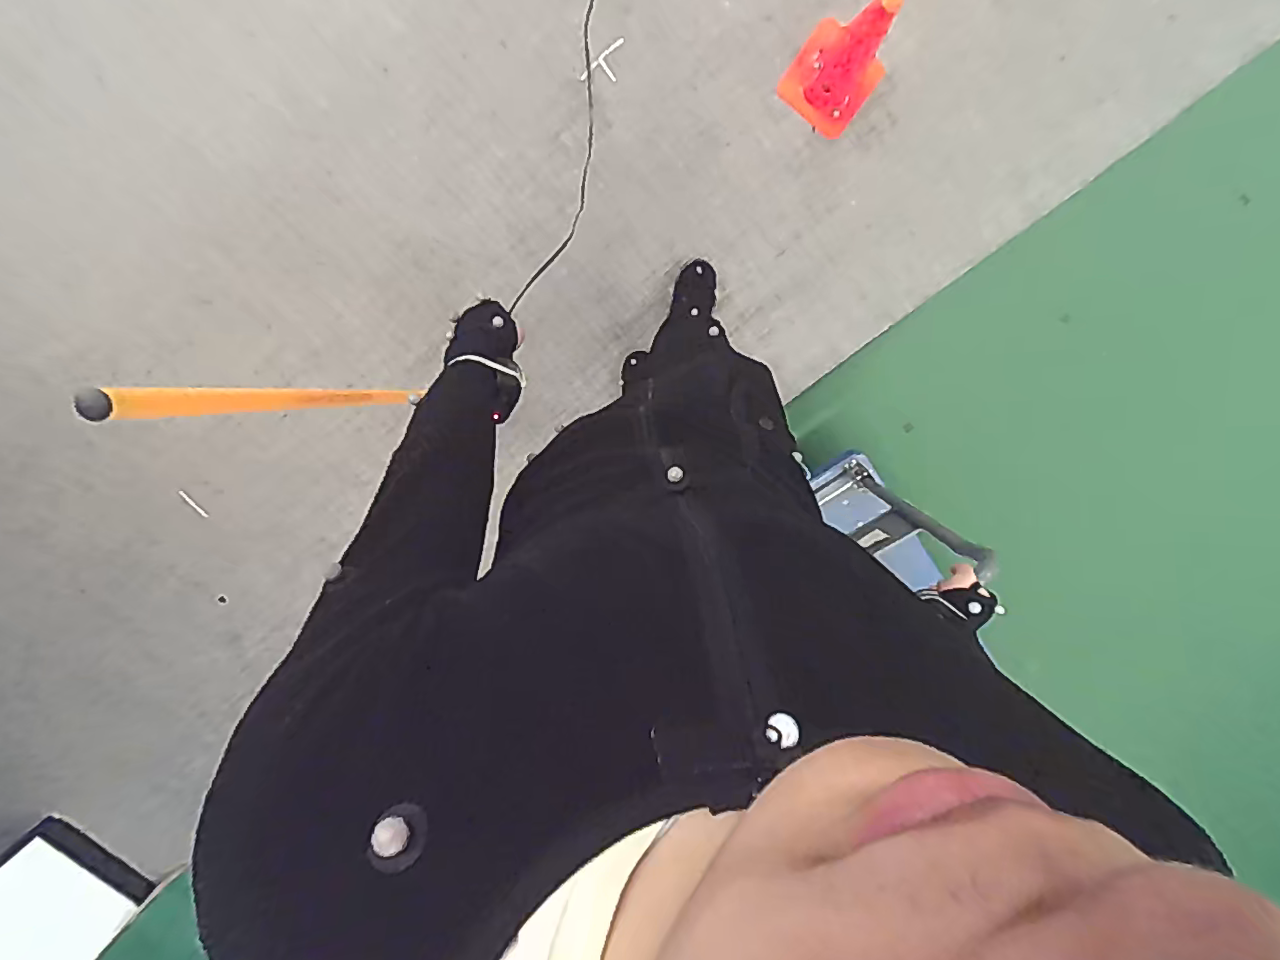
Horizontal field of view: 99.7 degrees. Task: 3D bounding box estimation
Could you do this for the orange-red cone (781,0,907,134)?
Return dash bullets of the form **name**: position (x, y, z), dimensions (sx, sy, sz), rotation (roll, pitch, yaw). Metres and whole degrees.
- **orange-red cone**: position (0.472, -0.943, 1.158), dimensions (0.198, 0.360, 0.199), rotation (36, 102, -10)
